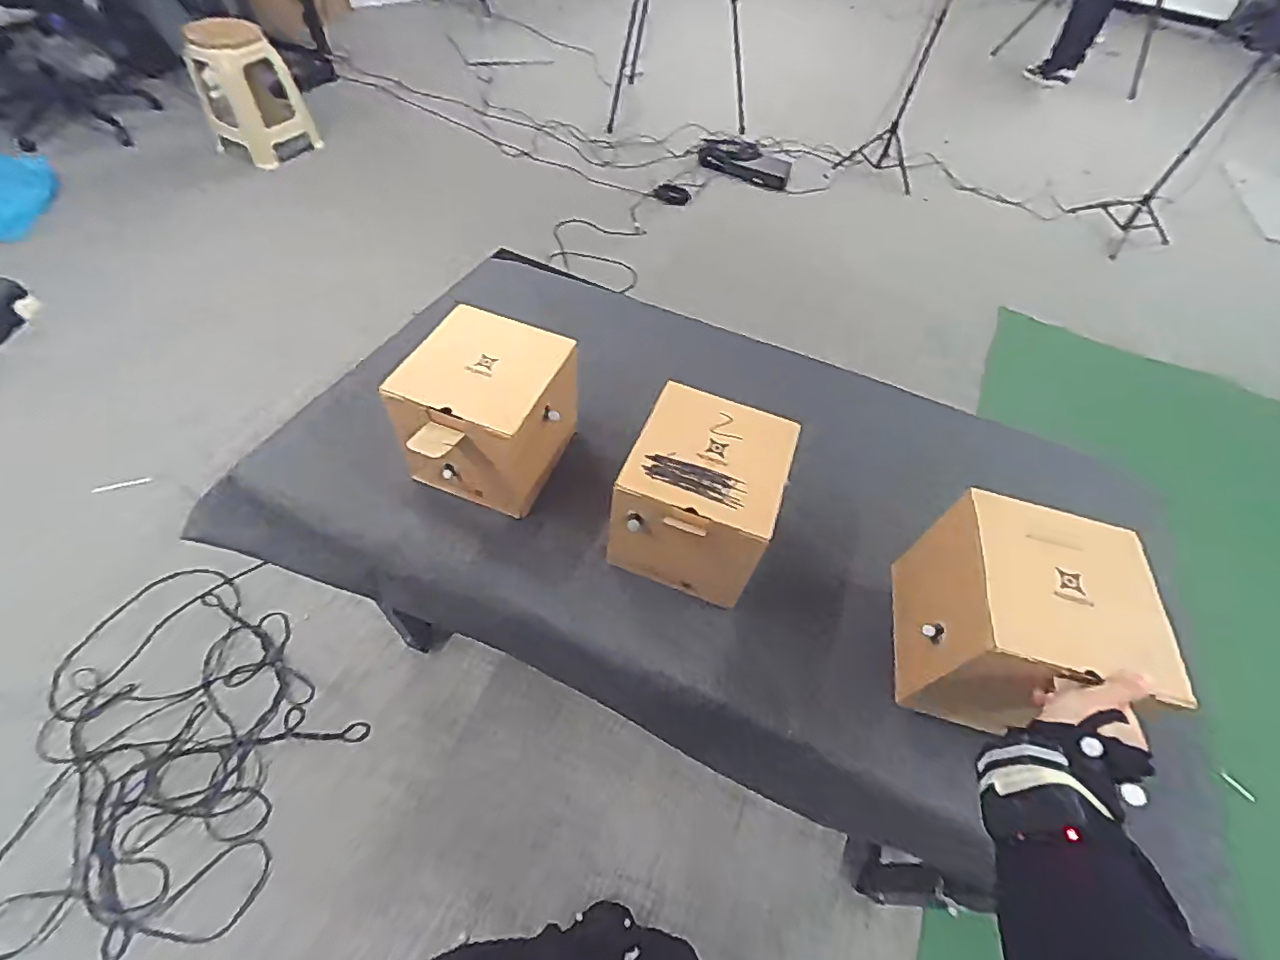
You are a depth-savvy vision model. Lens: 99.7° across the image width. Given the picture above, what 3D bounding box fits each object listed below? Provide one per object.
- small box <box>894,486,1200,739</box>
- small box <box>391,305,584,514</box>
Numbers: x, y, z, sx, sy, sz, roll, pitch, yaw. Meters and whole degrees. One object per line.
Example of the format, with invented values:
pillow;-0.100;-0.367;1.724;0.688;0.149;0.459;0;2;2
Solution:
small box;0.379;0.139;0.549;0.168;0.176;0.179;15;51;3
small box;-0.184;-0.089;0.702;0.168;0.176;0.179;20;54;7
